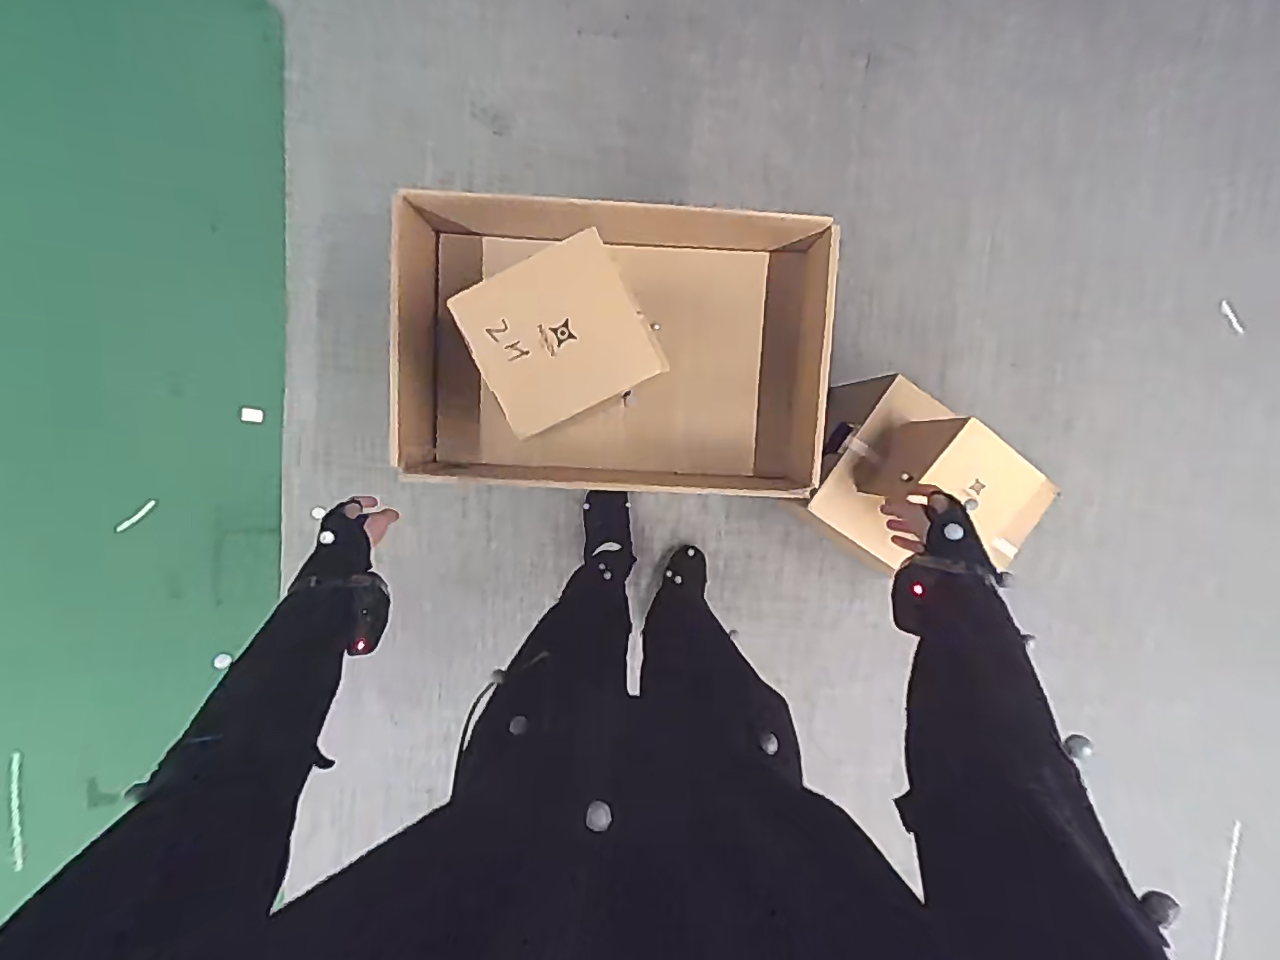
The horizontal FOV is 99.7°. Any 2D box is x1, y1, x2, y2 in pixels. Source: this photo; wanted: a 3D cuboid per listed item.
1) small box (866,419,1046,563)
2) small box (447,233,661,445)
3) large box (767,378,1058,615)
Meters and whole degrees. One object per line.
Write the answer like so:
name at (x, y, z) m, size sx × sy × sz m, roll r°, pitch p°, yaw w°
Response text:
small box at (0.532, 0.013, 0.939) m, size 0.168 × 0.176 × 0.179 m, roll 37°, pitch 92°, yaw -4°
small box at (-0.090, -0.153, 0.639) m, size 0.179 × 0.176 × 0.168 m, roll -26°, pitch 94°, yaw 2°
large box at (0.557, 0.024, 1.185) m, size 0.408 × 0.320 × 0.320 m, roll 33°, pitch 93°, yaw -5°
